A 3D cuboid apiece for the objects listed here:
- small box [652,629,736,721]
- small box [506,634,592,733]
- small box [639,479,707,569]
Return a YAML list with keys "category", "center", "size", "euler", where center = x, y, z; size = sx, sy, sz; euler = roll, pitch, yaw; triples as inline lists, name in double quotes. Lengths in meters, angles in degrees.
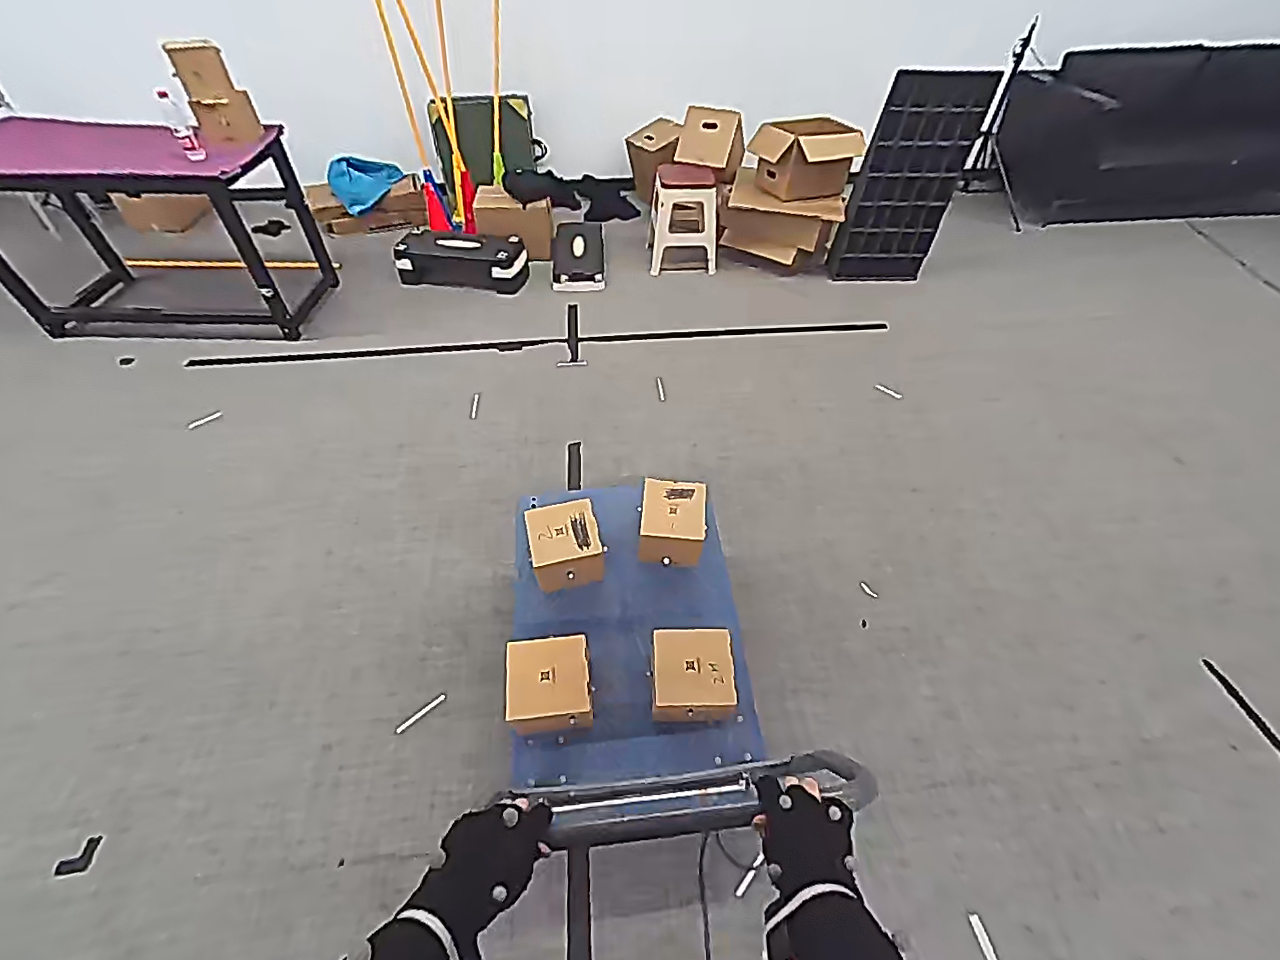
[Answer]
- category: "small box"
  center: [0.116, 0.452, 1.245]
  size: [0.179, 0.176, 0.168]
  euler: [1, 56, -2]
- category: "small box"
  center: [-0.201, 0.464, 1.224]
  size: [0.179, 0.176, 0.168]
  euler: [-4, 55, -7]
- category: "small box"
  center: [0.088, 0.121, 1.475]
  size: [0.168, 0.176, 0.179]
  euler: [5, 56, 2]
